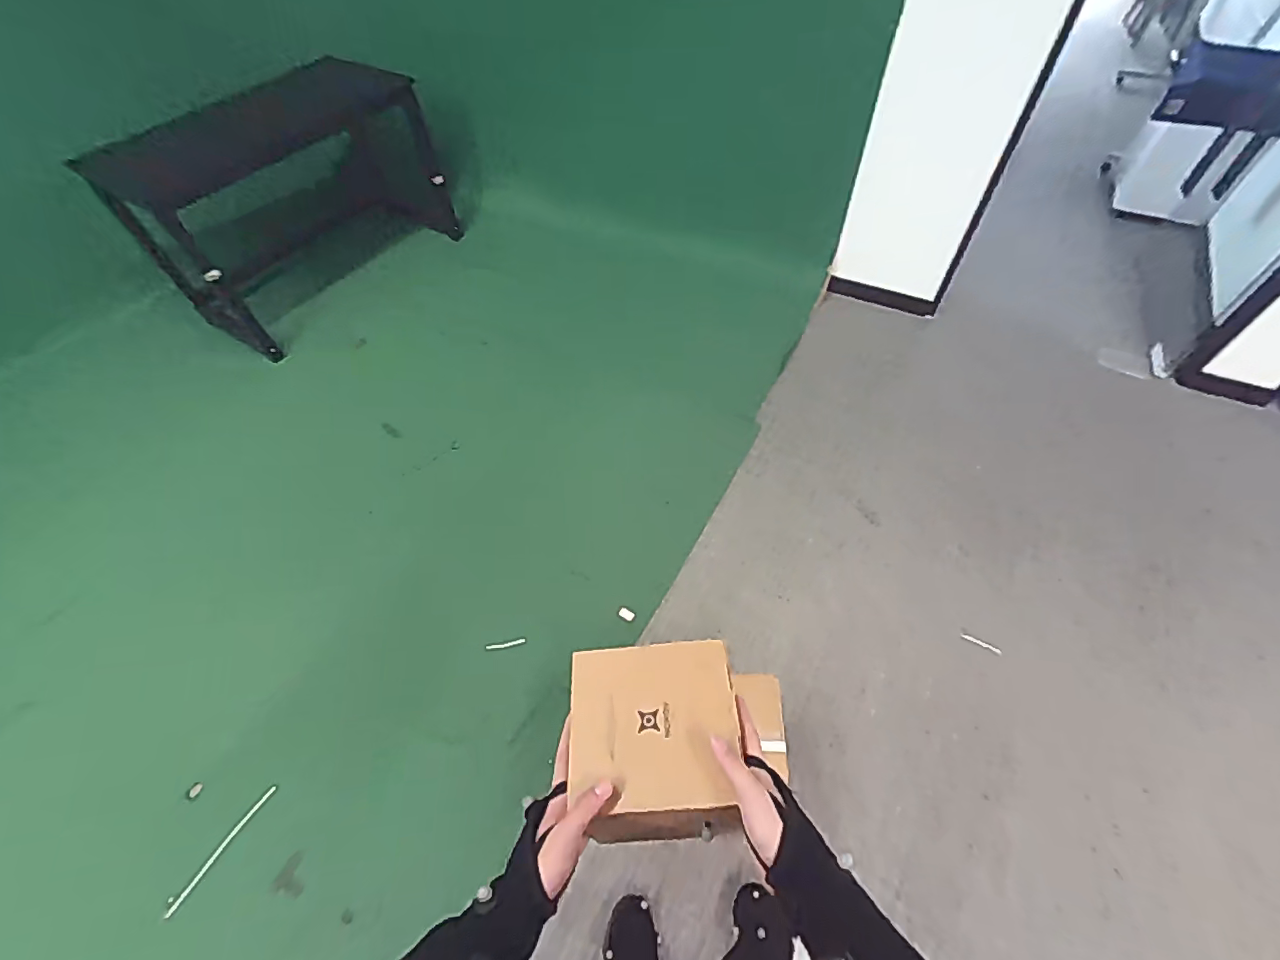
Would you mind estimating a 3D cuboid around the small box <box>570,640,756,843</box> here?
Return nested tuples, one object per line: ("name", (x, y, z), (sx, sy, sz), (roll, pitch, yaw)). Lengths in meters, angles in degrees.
("small box", (0.027, 0.297, 0.609), (0.179, 0.176, 0.168), (-7, 48, 4))
